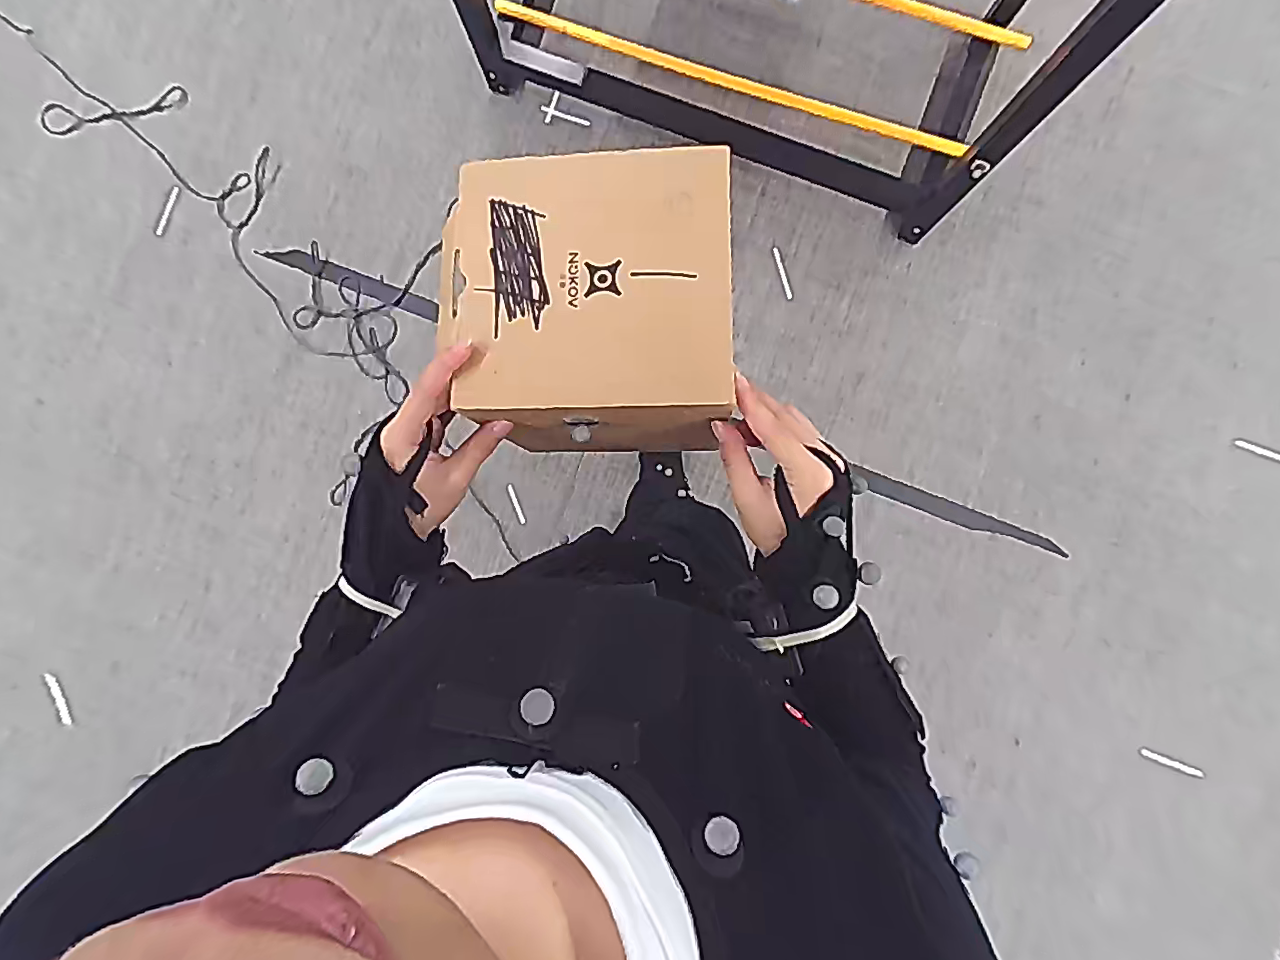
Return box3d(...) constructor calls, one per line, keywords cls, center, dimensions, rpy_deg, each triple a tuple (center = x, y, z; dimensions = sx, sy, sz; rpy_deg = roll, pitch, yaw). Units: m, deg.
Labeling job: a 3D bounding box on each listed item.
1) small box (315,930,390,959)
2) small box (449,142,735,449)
box3d(cls="small box", center=(-0.682, 1.170, 1.203), dimensions=(0.168, 0.176, 0.179), rpy_deg=(24, 90, 2))
box3d(cls="small box", center=(-0.022, -0.117, 0.409), dimensions=(0.179, 0.176, 0.168), rpy_deg=(0, 84, 5))
